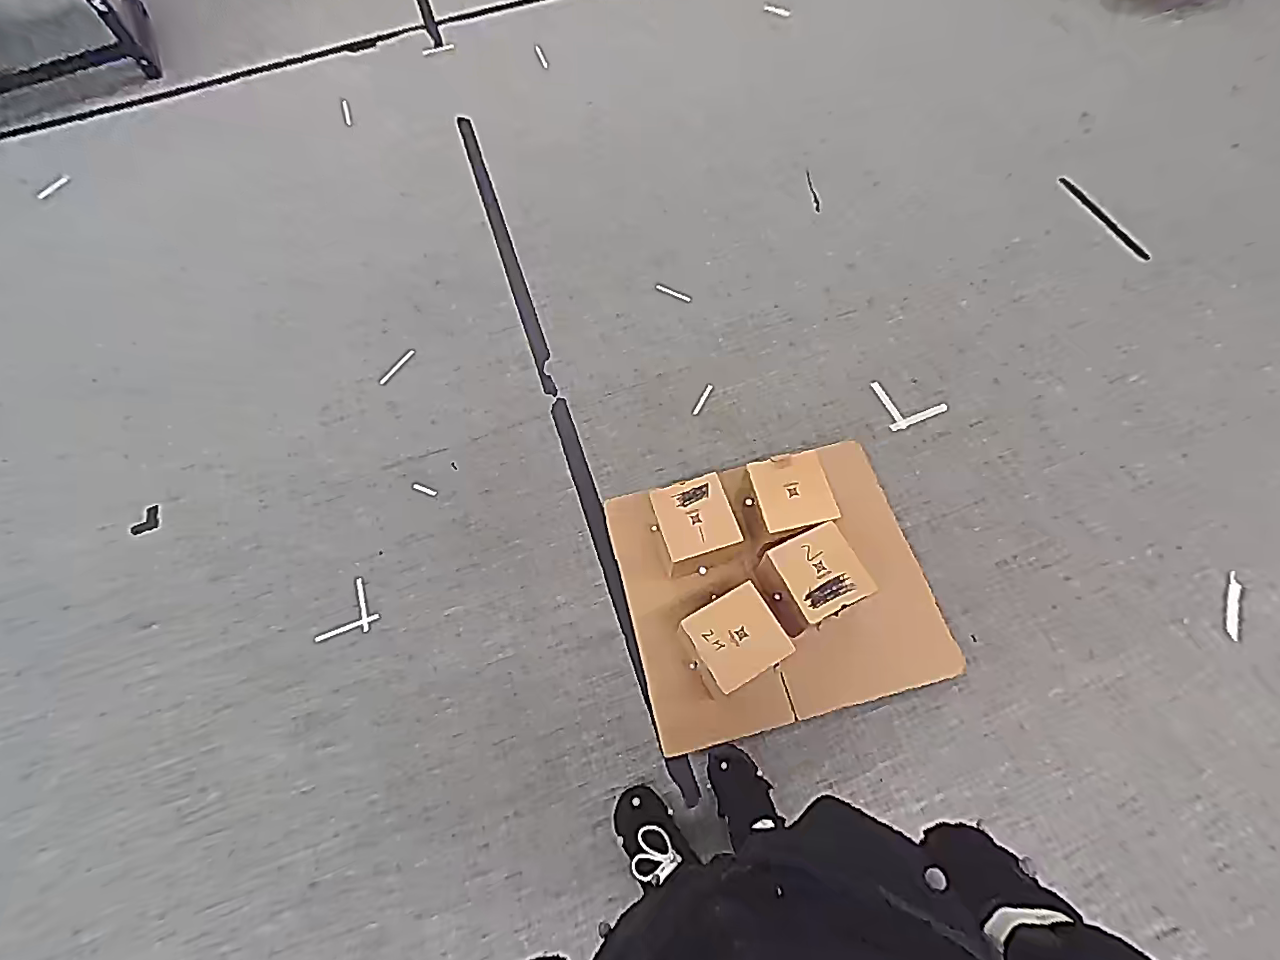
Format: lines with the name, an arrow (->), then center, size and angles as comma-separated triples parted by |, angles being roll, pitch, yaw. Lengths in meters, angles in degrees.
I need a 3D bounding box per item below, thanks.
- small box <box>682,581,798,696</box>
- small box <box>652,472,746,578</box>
small box -> 0.203, 0.343, 1.158 | 0.179, 0.176, 0.168 | -28, 67, -10
small box -> 0.128, 0.110, 1.265 | 0.168, 0.176, 0.179 | -17, 67, -6
